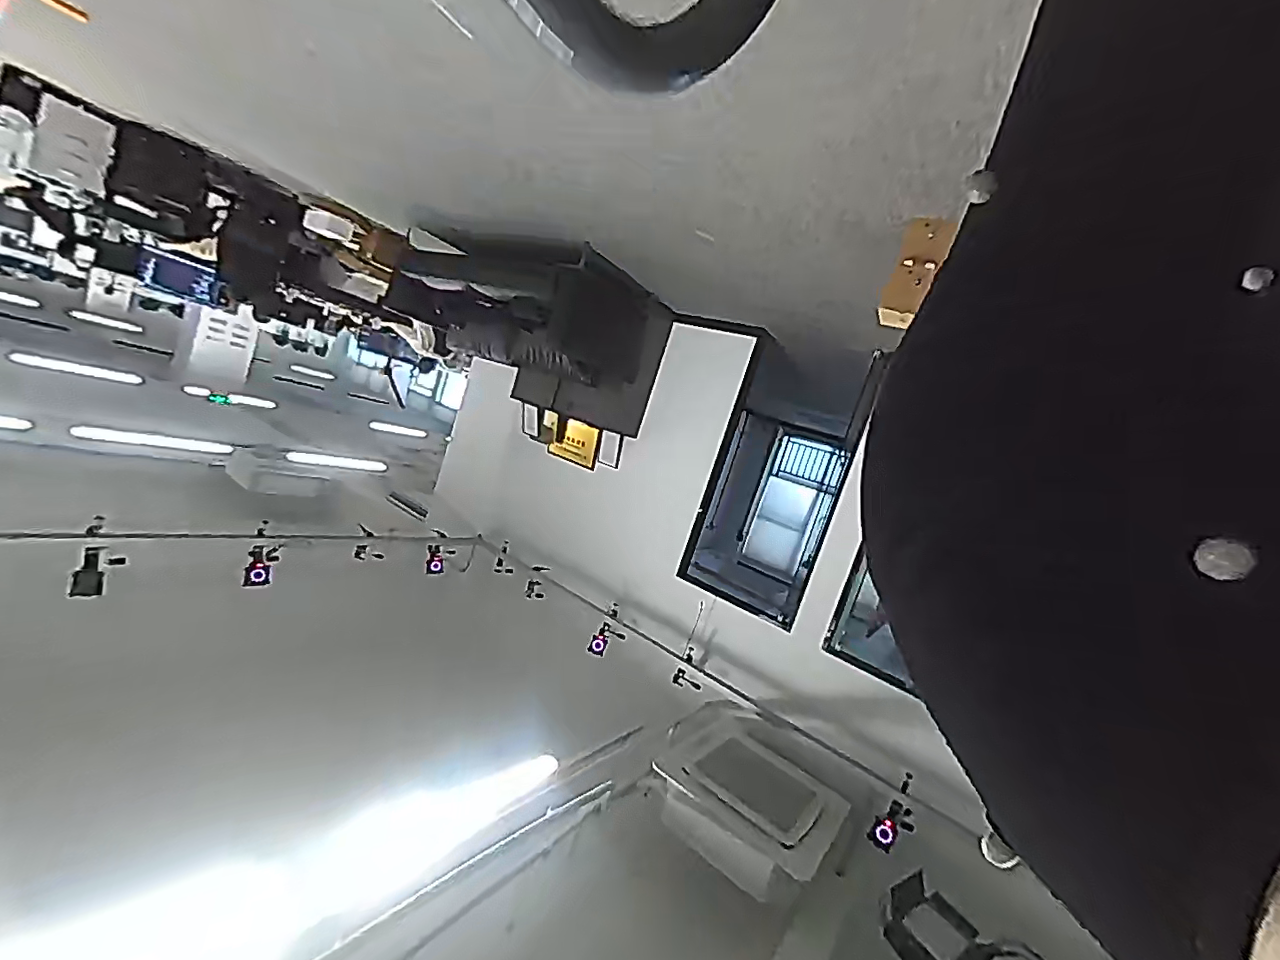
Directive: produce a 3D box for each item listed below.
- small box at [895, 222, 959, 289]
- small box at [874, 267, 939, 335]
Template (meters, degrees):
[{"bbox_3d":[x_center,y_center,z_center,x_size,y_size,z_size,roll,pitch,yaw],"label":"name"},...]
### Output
[{"bbox_3d":[1.030,-0.805,1.958,0.168,0.176,0.179,18,-177,20],"label":"small box"},{"bbox_3d":[0.974,-0.656,1.978,0.168,0.176,0.179,22,-175,25],"label":"small box"}]
